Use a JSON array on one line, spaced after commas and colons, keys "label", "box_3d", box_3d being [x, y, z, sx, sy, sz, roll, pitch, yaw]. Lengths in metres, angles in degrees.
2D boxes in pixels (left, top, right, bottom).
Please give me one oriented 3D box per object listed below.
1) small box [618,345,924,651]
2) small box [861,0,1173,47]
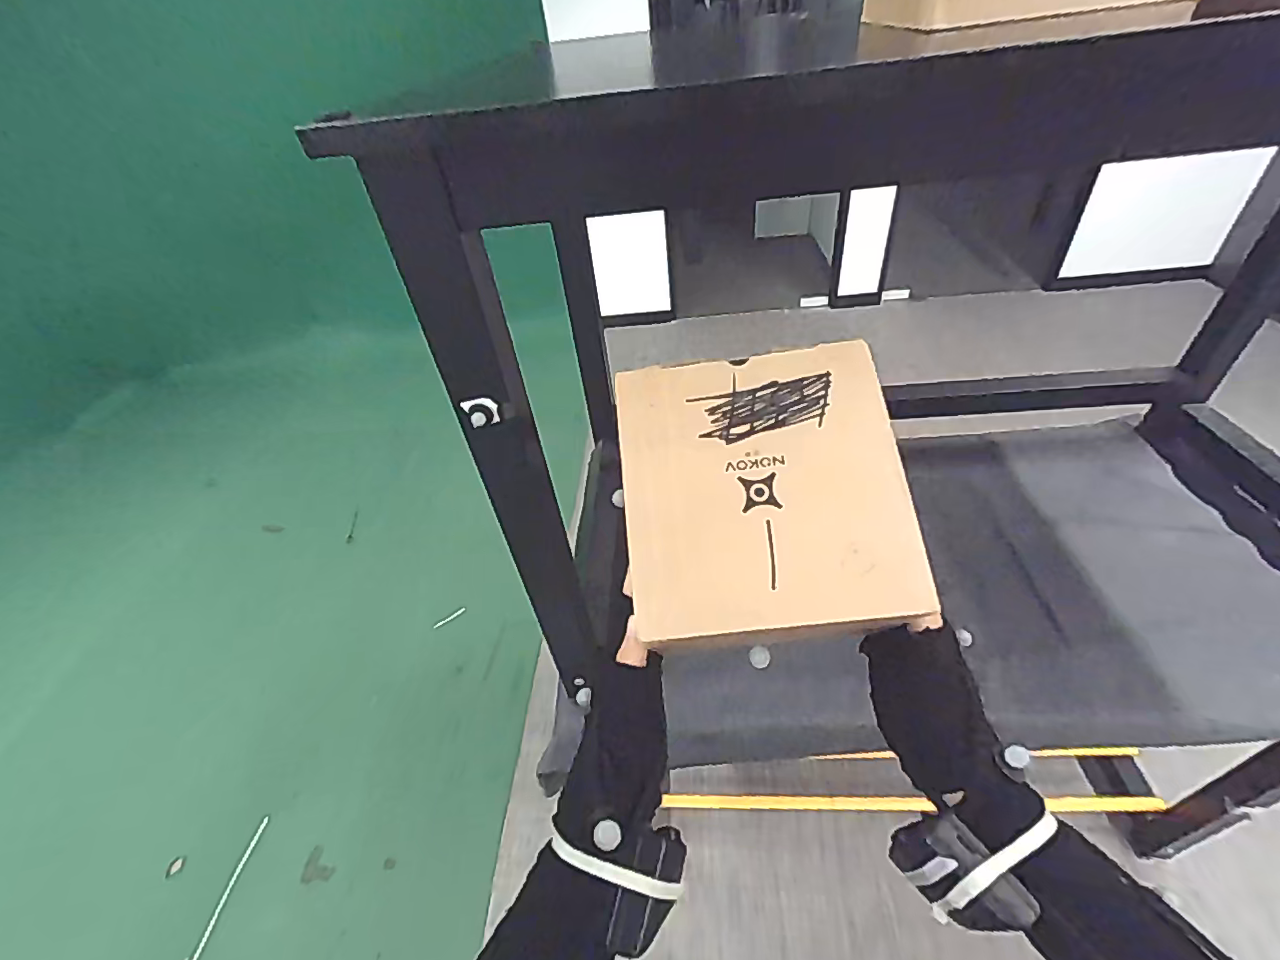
[{"label": "small box", "box_3d": [0.079, 0.027, 0.409, 0.168, 0.176, 0.179, -7, 68, 5]}, {"label": "small box", "box_3d": [0.267, -0.413, 0.371, 0.168, 0.176, 0.179, -2, 41, 6]}]
